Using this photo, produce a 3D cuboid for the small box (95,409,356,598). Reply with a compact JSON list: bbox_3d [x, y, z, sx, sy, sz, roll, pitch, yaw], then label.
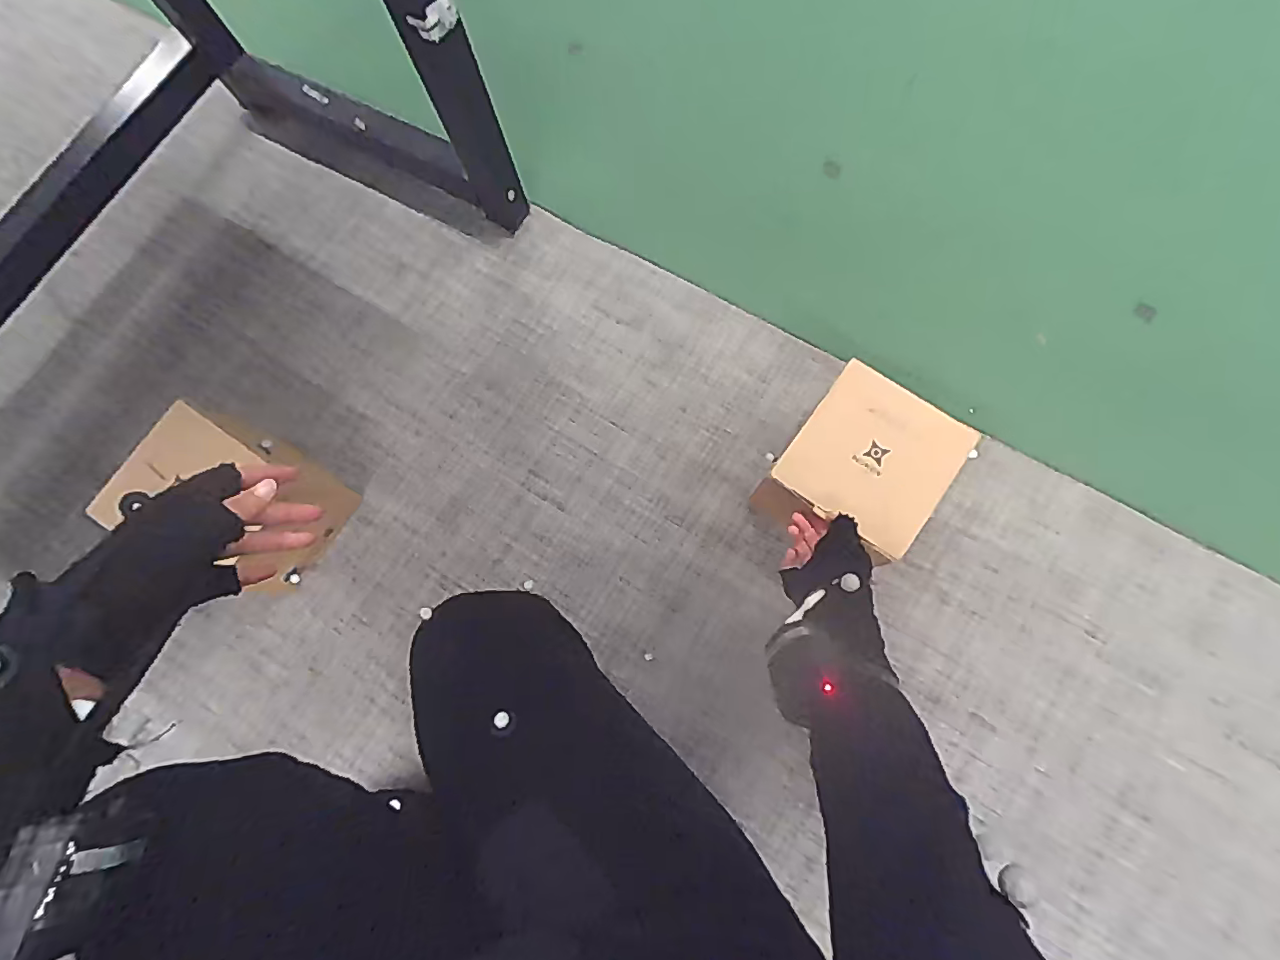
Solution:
[{"bbox_3d":[-0.523,0.038,0.711,0.179,0.176,0.168,32,81,11],"label":"small box"}]
